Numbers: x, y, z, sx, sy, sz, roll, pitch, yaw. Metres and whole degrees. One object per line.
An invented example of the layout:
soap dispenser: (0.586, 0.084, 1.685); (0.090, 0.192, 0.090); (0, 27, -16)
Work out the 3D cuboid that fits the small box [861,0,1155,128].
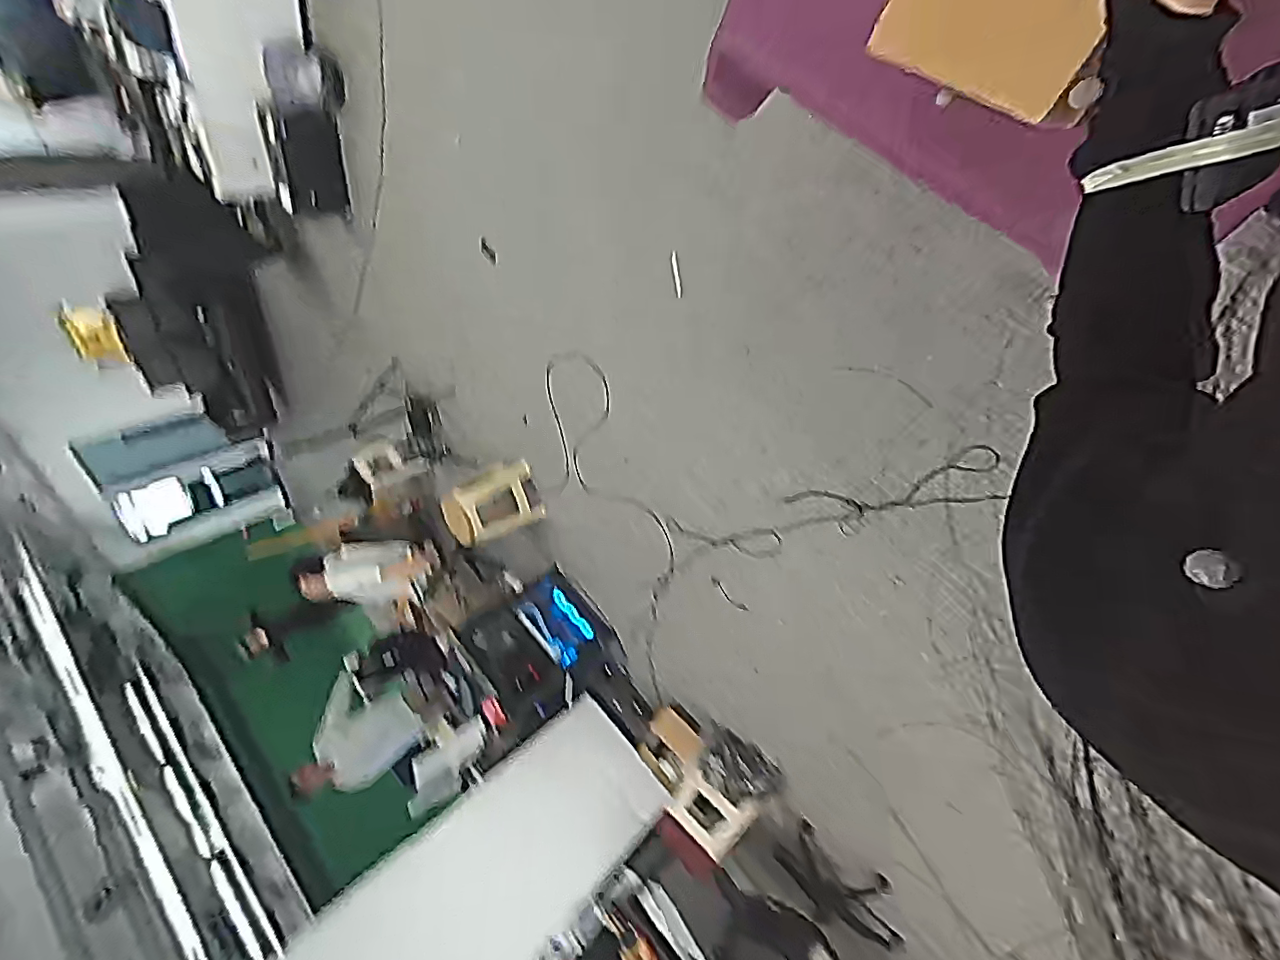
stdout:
small box: (0.340, -0.433, 0.469); (0.179, 0.176, 0.168); (43, 139, 21)
